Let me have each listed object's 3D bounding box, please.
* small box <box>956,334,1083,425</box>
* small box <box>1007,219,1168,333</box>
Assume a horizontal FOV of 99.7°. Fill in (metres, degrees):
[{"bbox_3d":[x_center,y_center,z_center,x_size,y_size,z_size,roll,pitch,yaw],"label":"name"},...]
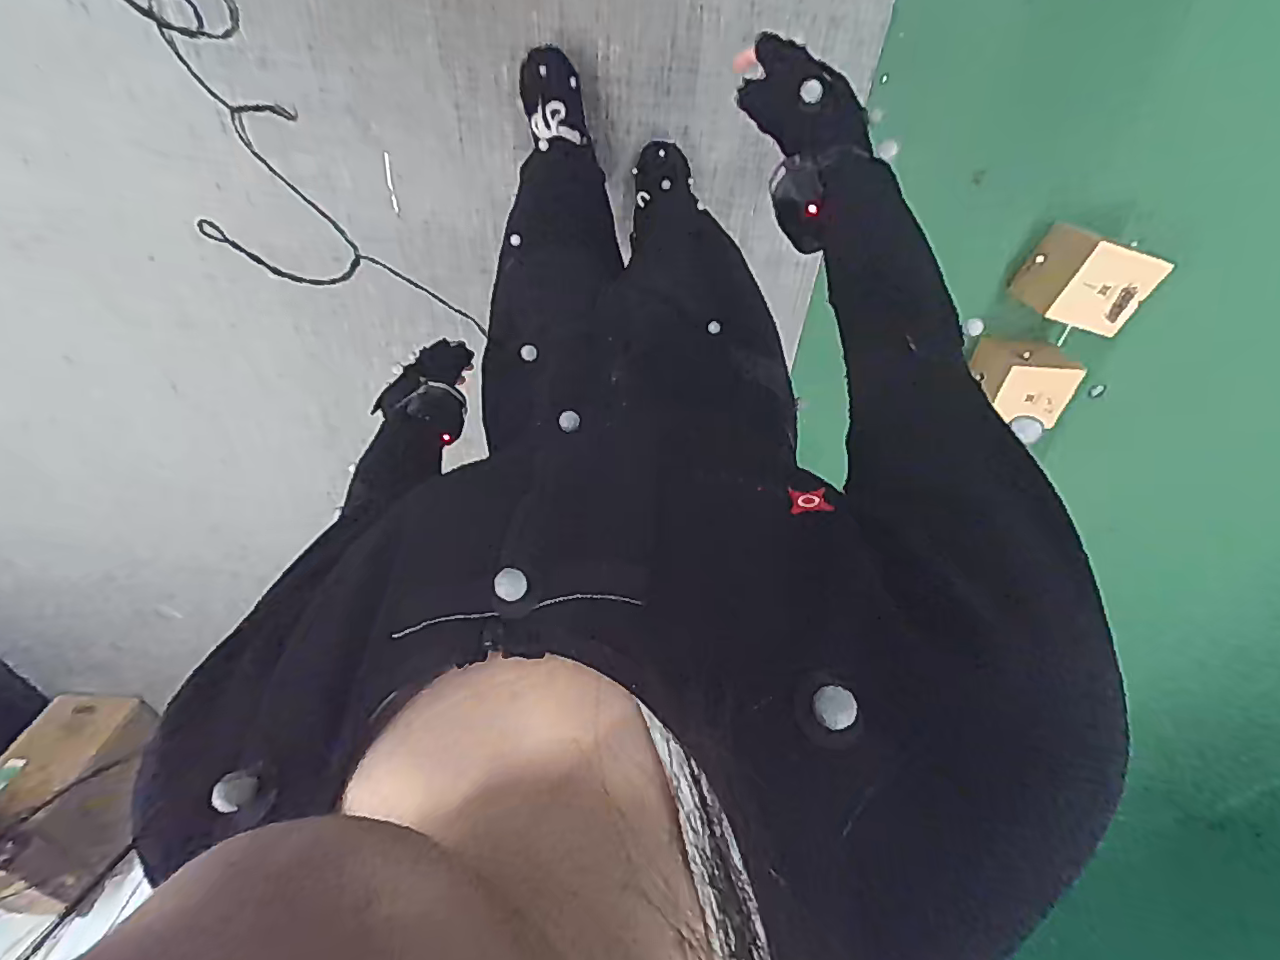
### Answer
[{"bbox_3d":[0.934,-0.255,1.355,0.179,0.176,0.168,3,130,-1],"label":"small box"},{"bbox_3d":[0.972,-0.454,1.193,0.179,0.176,0.168,14,128,-7],"label":"small box"}]
